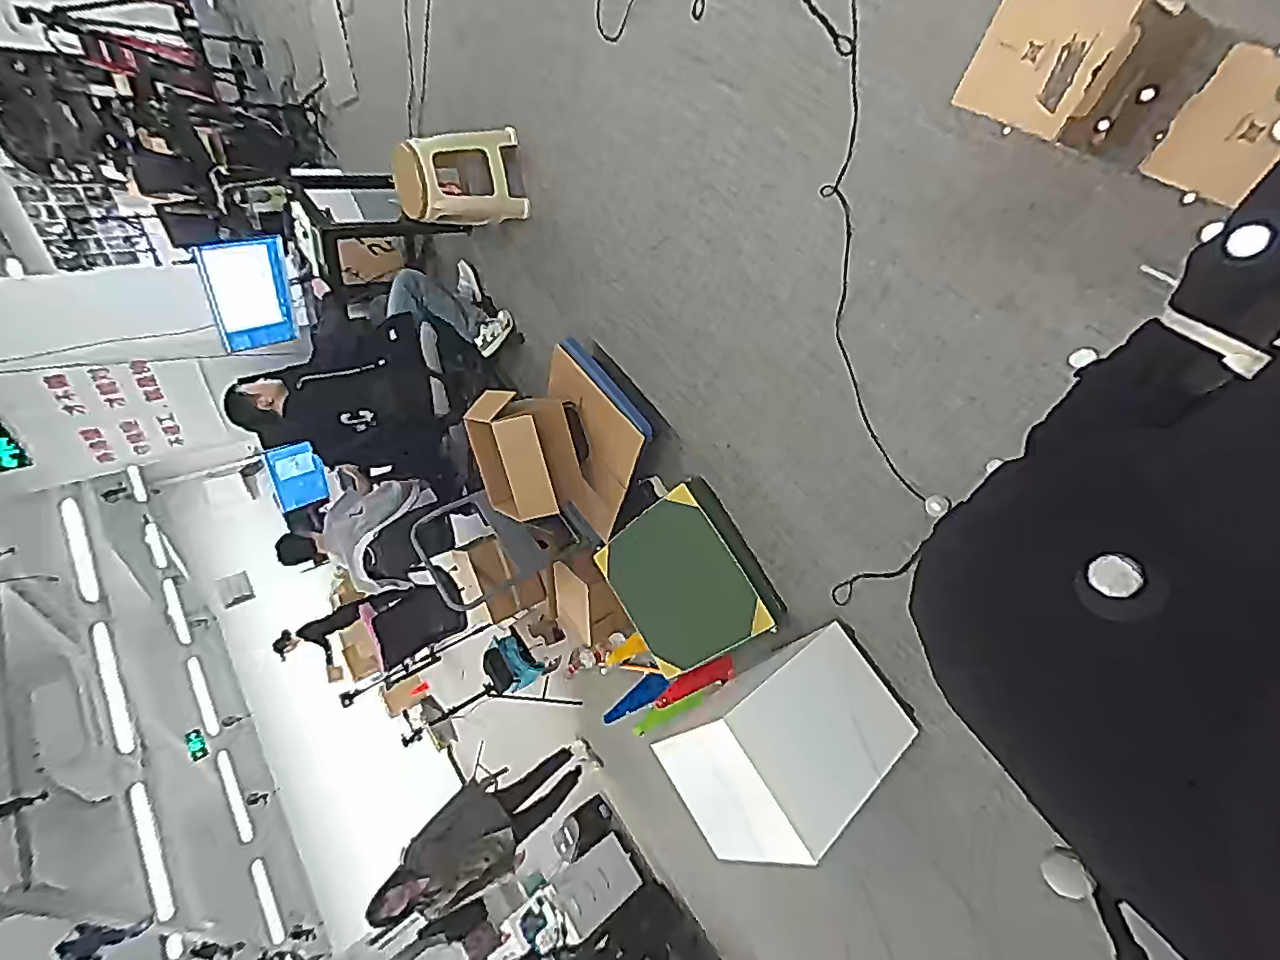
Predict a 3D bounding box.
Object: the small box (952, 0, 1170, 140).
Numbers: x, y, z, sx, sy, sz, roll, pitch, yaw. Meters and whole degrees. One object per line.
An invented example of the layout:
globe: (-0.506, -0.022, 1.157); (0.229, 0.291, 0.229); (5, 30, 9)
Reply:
small box: (0.624, -0.628, 0.806); (0.179, 0.176, 0.168); (47, 140, 28)

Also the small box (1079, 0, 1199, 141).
small box: (0.757, -0.677, 0.891); (0.168, 0.176, 0.179); (43, 139, 32)
